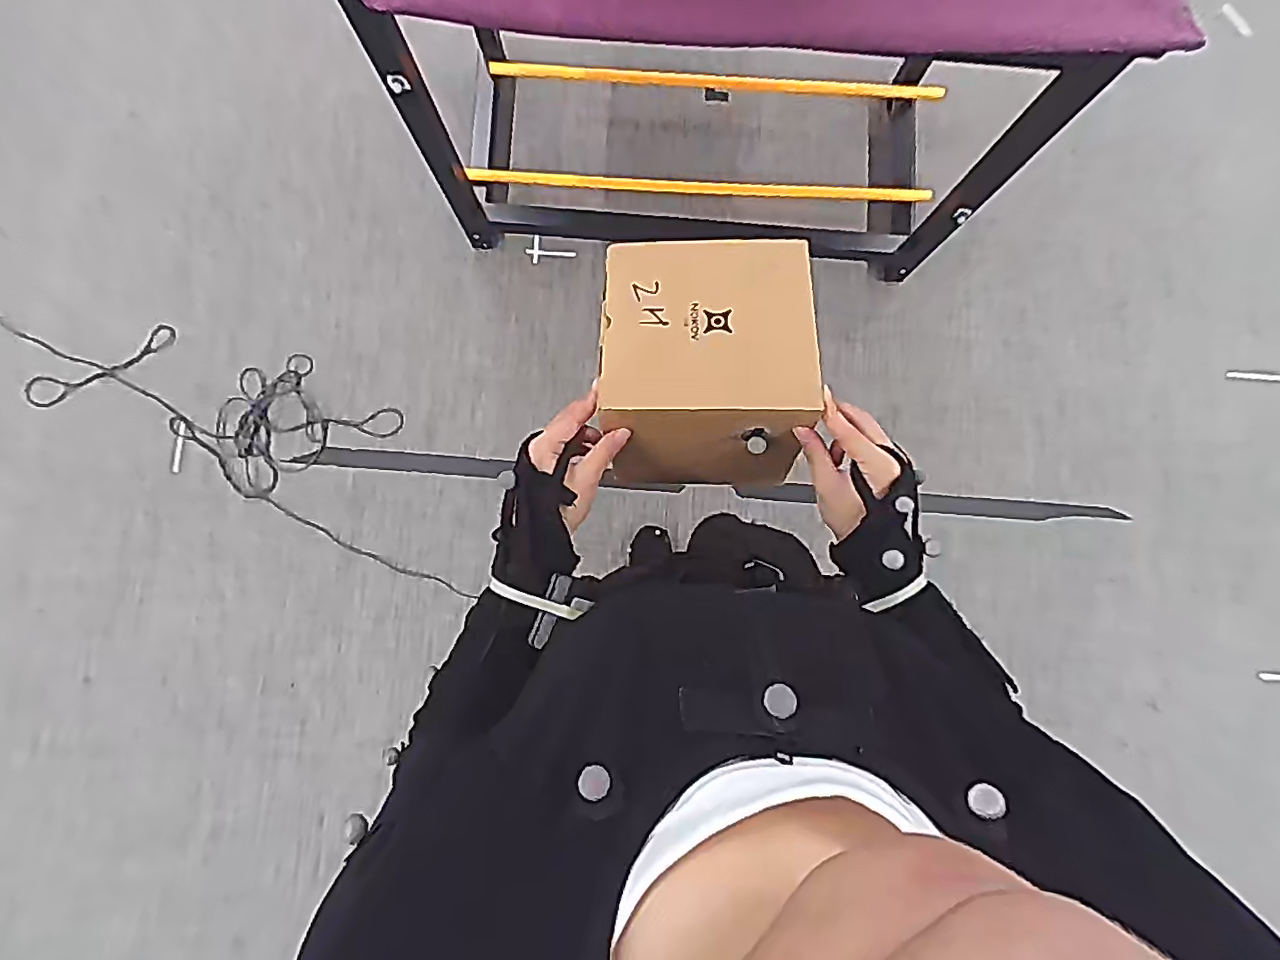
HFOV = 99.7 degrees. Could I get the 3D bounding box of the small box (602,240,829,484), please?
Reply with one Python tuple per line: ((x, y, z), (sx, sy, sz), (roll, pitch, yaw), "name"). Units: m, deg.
((0.065, -0.100, 0.514), (0.179, 0.176, 0.168), (1, 69, 4), "small box")
